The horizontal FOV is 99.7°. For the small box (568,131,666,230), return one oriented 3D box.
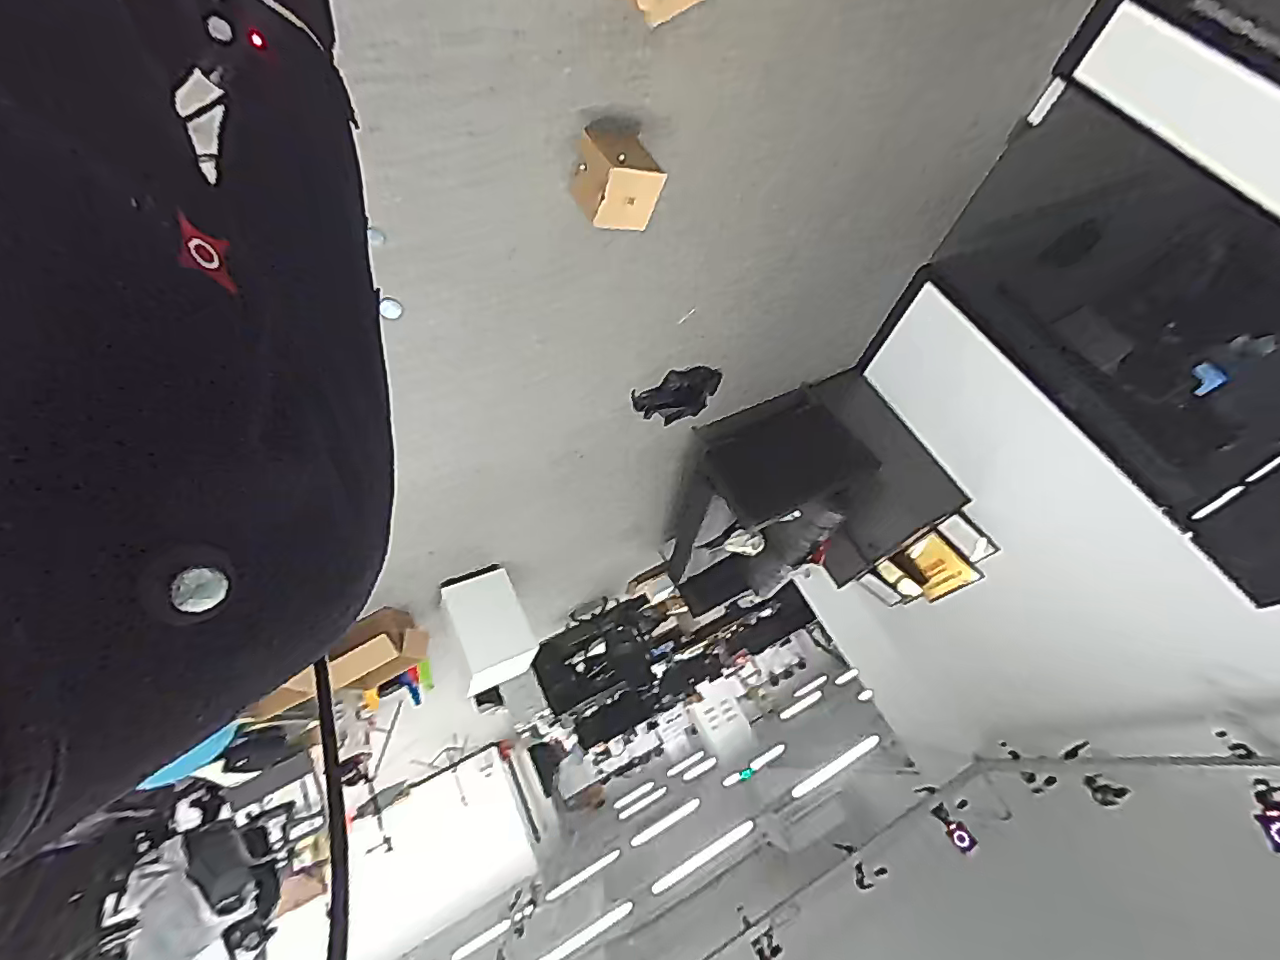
[{"bbox_3d":[-0.066,-0.797,1.443,0.179,0.176,0.168,-14,154,-33],"label":"small box"}]
